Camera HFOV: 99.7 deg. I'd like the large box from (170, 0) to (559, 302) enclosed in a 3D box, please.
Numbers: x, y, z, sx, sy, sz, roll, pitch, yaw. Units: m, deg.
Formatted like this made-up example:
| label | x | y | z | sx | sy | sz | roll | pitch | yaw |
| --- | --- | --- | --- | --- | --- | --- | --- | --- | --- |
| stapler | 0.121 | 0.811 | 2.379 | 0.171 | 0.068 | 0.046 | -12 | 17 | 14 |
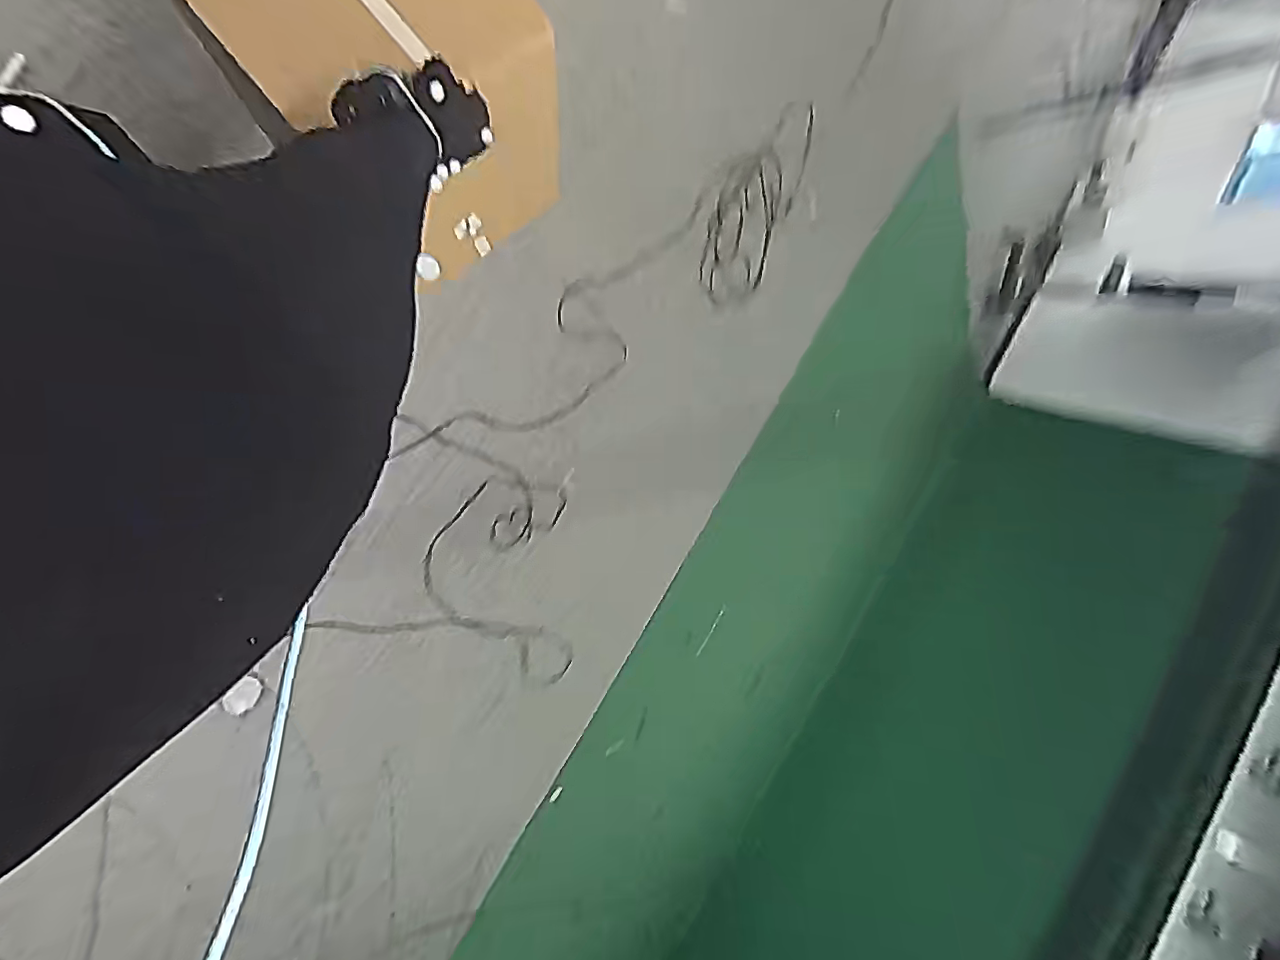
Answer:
| label | x | y | z | sx | sy | sz | roll | pitch | yaw |
| --- | --- | --- | --- | --- | --- | --- | --- | --- | --- |
| large box | -0.362 | -0.548 | 0.770 | 0.320 | 0.408 | 0.320 | -40 | 177 | -12 |
